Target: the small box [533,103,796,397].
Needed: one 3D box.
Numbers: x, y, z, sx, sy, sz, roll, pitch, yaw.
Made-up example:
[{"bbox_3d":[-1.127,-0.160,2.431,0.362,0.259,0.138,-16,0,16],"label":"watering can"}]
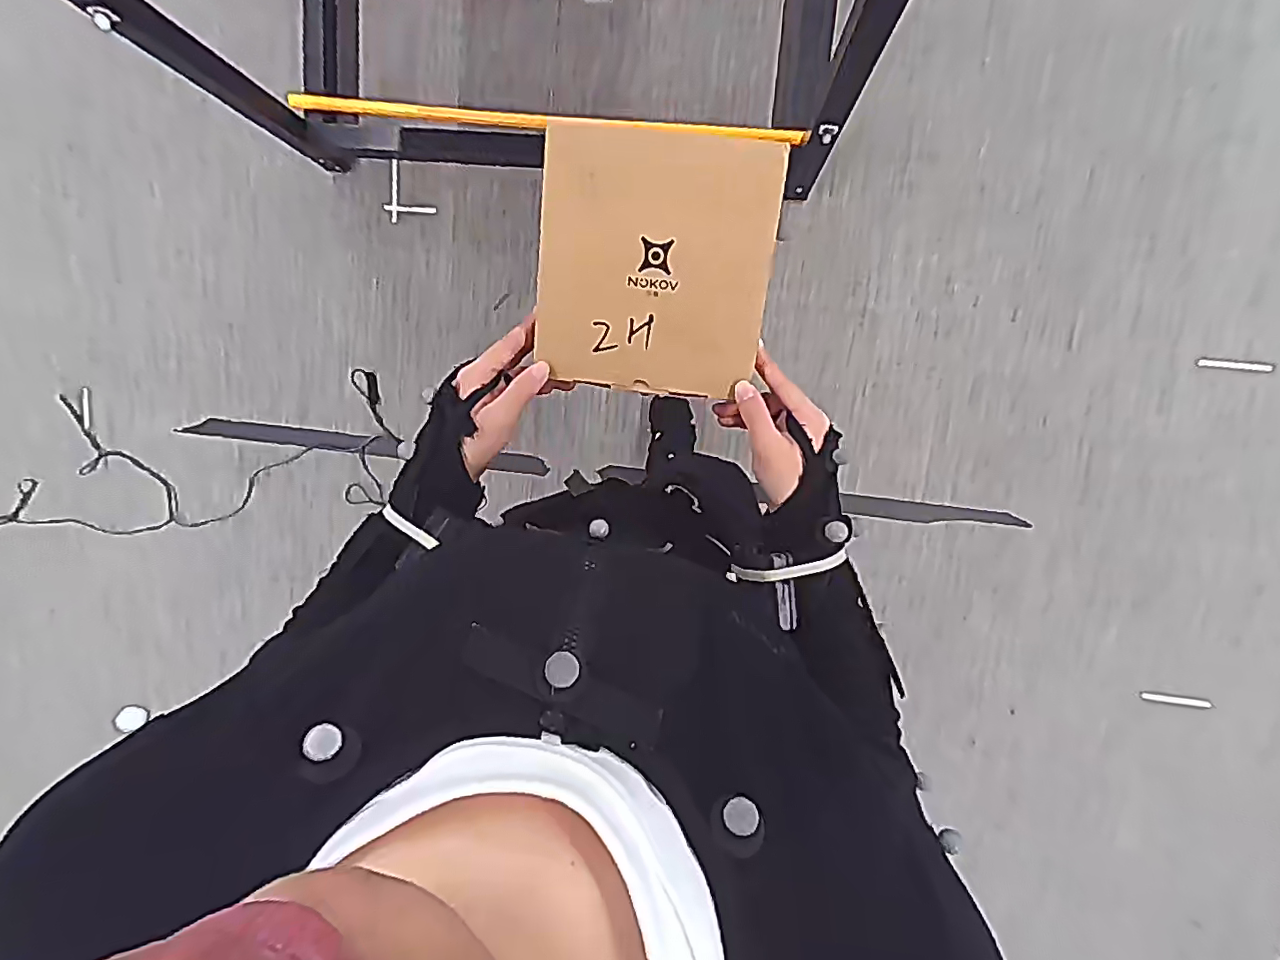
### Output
[{"bbox_3d":[0.017,-0.175,0.454,0.168,0.176,0.179,8,105,2],"label":"small box"}]
